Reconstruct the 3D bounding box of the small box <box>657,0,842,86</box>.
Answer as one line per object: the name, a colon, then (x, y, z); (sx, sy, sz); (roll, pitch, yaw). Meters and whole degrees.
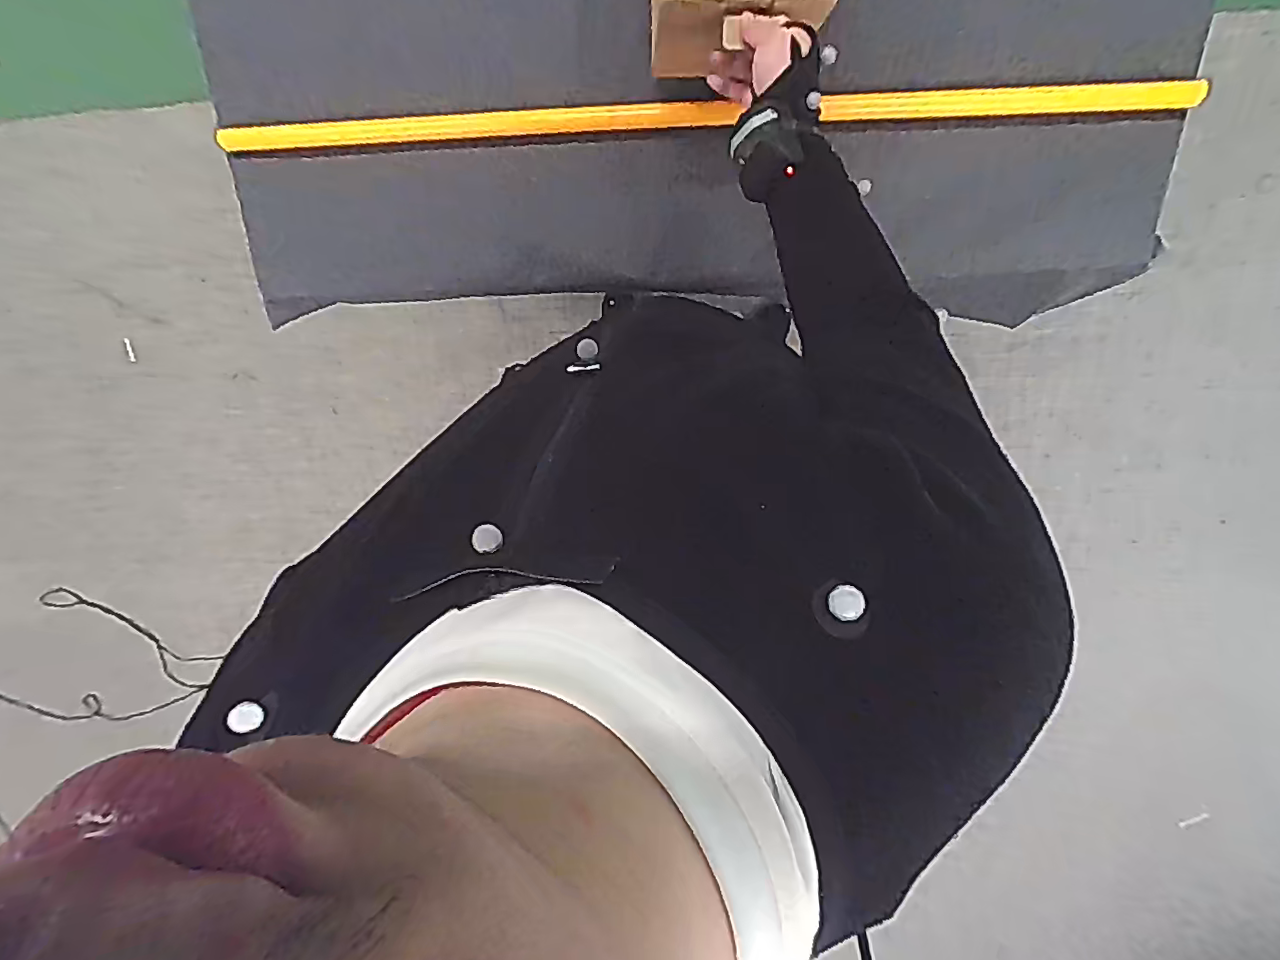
small box: (0.103, -0.534, 0.555); (0.168, 0.176, 0.179); (-3, 106, 1)
